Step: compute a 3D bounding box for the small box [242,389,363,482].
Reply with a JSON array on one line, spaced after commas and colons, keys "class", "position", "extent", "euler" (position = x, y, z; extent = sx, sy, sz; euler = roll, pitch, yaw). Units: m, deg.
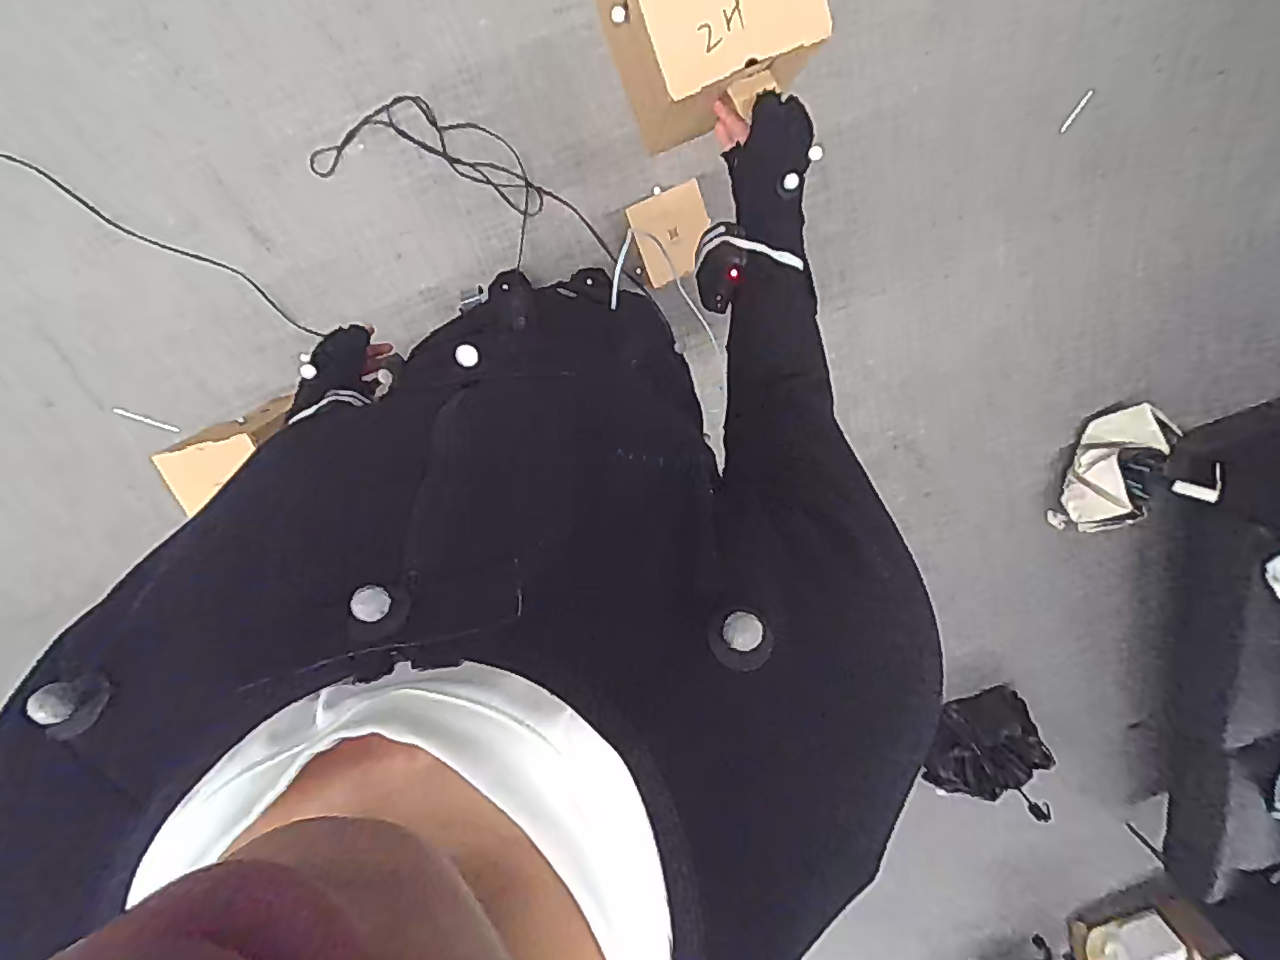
[{"class": "small box", "position": [-0.736, -0.085, 1.164], "extent": [0.168, 0.176, 0.179], "euler": [-18, 115, 1]}]

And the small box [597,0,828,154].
[{"class": "small box", "position": [0.061, -0.476, 0.555], "extent": [0.168, 0.176, 0.179], "euler": [-23, 107, 0]}]

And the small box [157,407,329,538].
[{"class": "small box", "position": [-0.725, -0.019, 1.016], "extent": [0.168, 0.176, 0.179], "euler": [-13, 114, -1]}]

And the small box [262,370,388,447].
[{"class": "small box", "position": [-0.753, -0.157, 1.314], "extent": [0.168, 0.176, 0.179], "euler": [-20, 113, 5]}]

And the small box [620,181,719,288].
[{"class": "small box", "position": [0.063, -0.564, 1.247], "extent": [0.168, 0.176, 0.179], "euler": [-22, 114, 1]}]
